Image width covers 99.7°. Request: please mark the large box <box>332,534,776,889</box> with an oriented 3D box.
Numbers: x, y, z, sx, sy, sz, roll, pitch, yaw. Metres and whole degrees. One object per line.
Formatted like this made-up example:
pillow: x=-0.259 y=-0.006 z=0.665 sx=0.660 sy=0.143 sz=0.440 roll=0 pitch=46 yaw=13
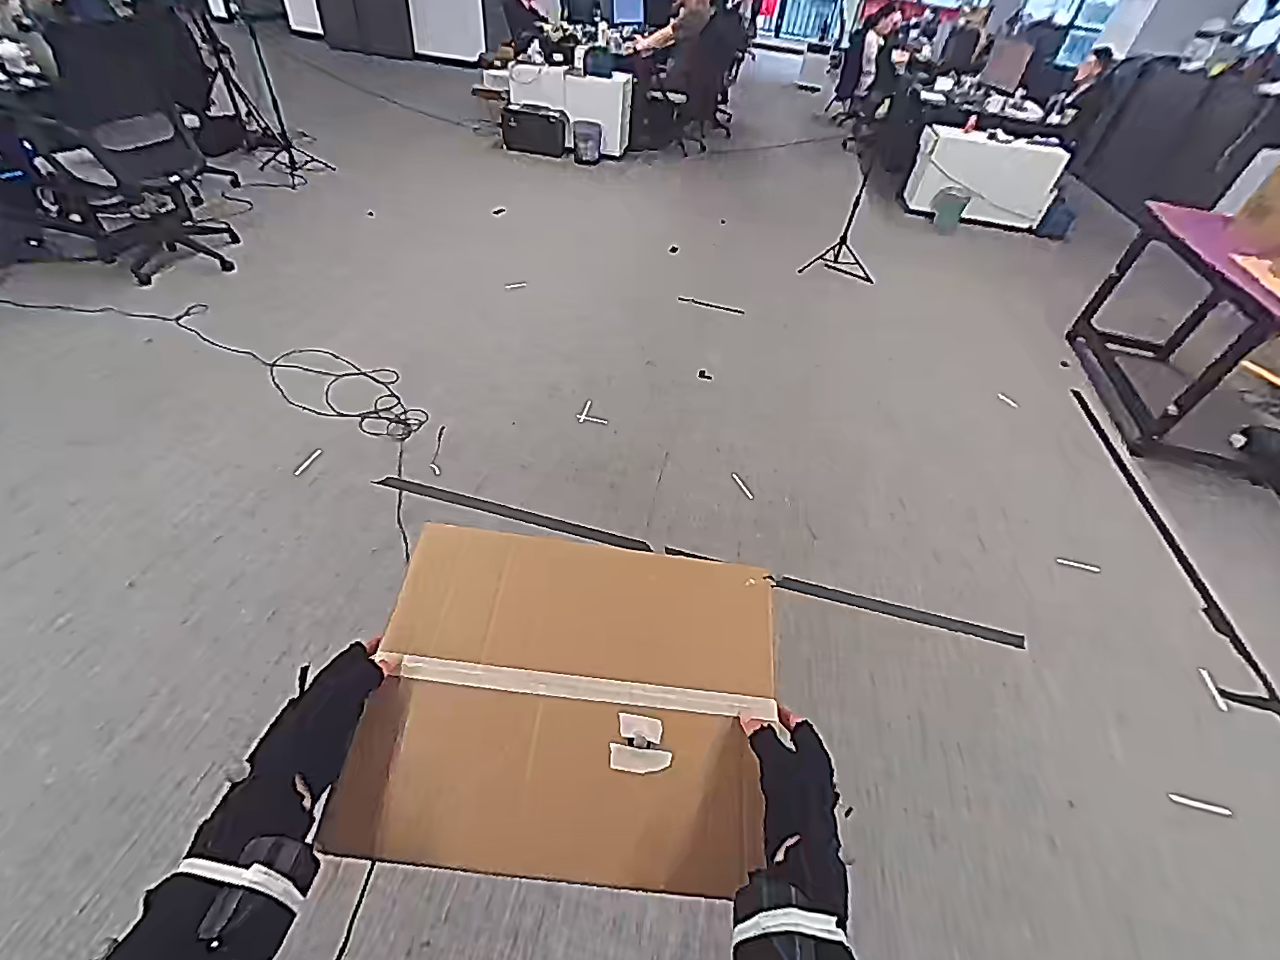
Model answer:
large box: x=-0.079 y=0.293 z=0.681 sx=0.408 sy=0.320 sz=0.320 roll=8 pitch=58 yaw=-3
